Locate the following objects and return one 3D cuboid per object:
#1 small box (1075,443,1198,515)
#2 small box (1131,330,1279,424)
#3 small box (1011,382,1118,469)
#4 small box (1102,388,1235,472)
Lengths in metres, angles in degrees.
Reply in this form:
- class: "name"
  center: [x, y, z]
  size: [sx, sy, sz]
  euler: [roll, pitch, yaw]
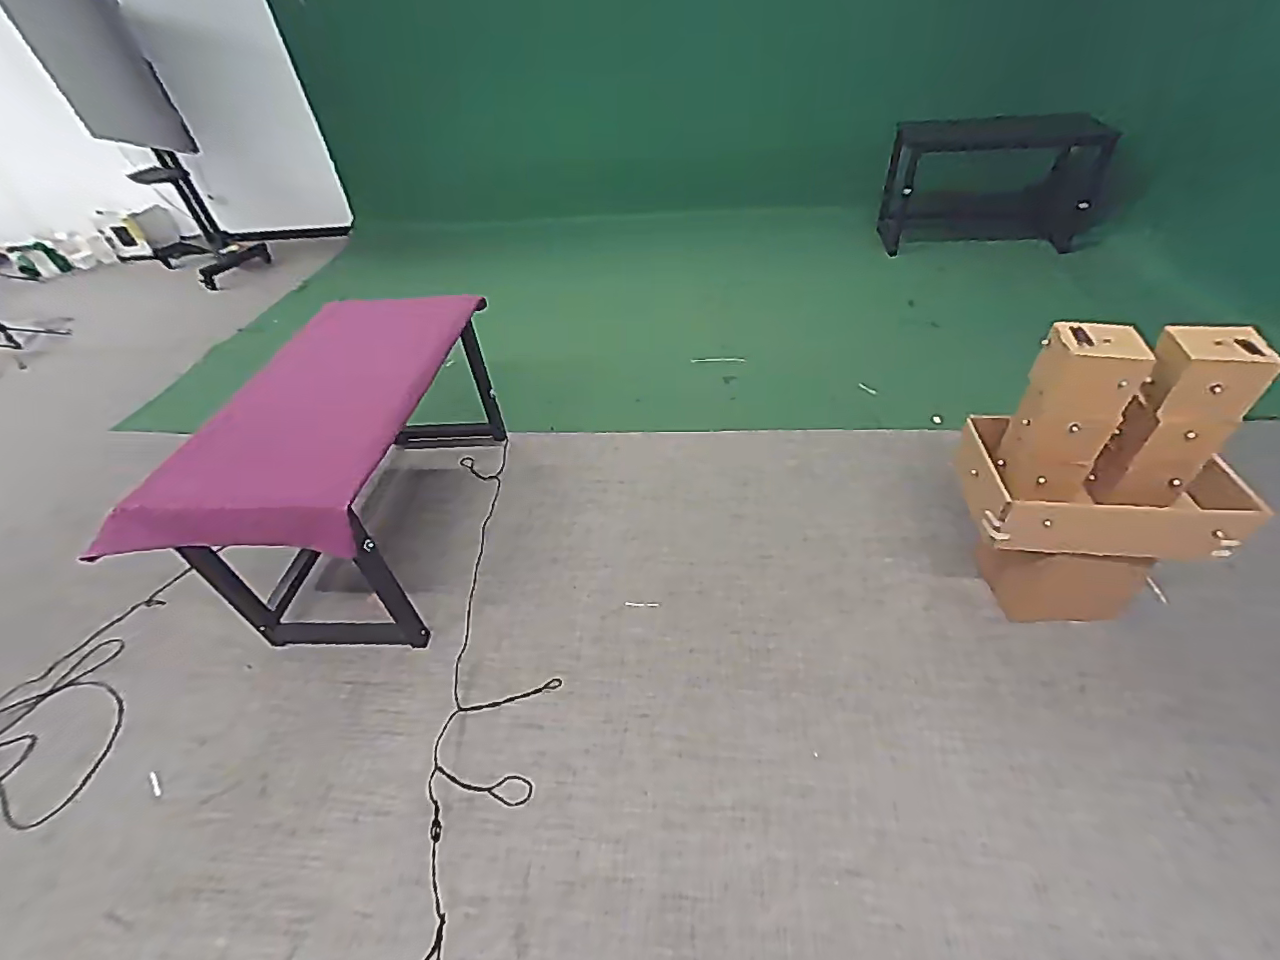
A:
- class: "small box"
  center: [1.422, -0.013, 1.564]
  size: [0.179, 0.176, 0.168]
  euler: [1, 42, 9]
- class: "small box"
  center: [1.392, -0.256, 1.349]
  size: [0.179, 0.176, 0.168]
  euler: [6, 44, 16]
- class: "small box"
  center: [1.160, -0.150, 1.499]
  size: [0.179, 0.176, 0.168]
  euler: [10, 45, 15]
- class: "small box"
  center: [1.404, -0.133, 1.457]
  size: [0.179, 0.176, 0.168]
  euler: [0, 43, 9]
